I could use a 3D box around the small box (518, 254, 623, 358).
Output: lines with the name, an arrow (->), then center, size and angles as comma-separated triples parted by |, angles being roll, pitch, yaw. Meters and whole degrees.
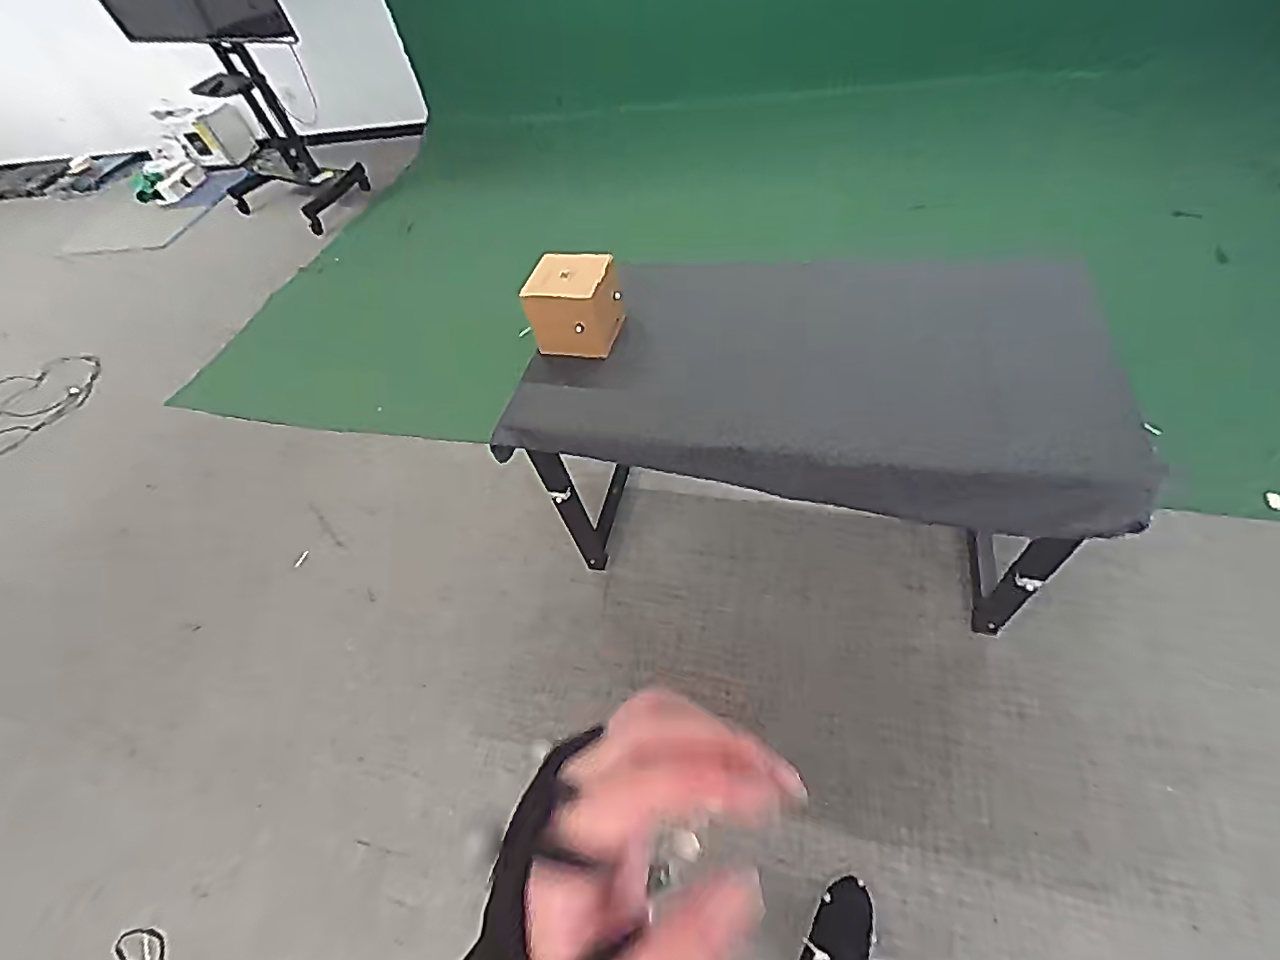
small box -> -0.152, -0.406, 1.270 | 0.179, 0.176, 0.168 | 9, 54, 18
